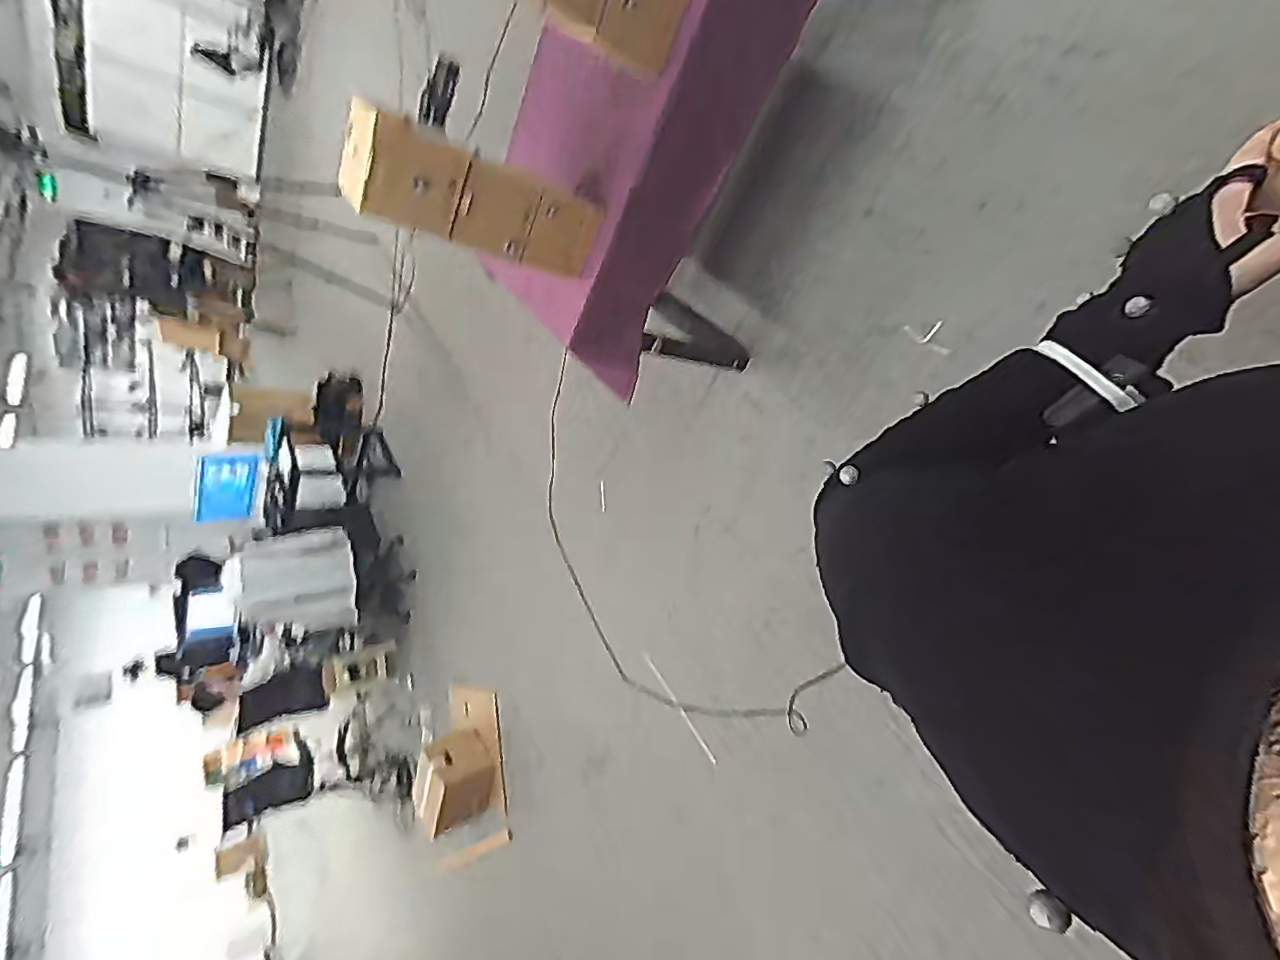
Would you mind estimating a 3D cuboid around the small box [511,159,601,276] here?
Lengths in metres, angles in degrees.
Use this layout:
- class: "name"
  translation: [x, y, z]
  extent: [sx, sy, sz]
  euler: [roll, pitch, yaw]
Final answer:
- class: "small box"
  translation: [-0.217, -0.604, 1.261]
  extent: [0.168, 0.176, 0.179]
  euler: [49, 123, 34]

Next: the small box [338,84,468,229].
- class: "small box"
  translation: [-0.449, -0.603, 1.027]
  extent: [0.179, 0.176, 0.168]
  euler: [49, 122, 33]

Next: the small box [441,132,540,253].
- class: "small box"
  translation: [-0.336, -0.605, 1.148]
  extent: [0.179, 0.176, 0.168]
  euler: [50, 123, 35]

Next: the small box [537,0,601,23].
- class: "small box"
  translation: [-0.148, -0.944, 0.943]
  extent: [0.179, 0.176, 0.168]
  euler: [49, 123, 35]

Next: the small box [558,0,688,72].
- class: "small box"
  translation: [-0.027, -0.942, 1.052]
  extent: [0.168, 0.176, 0.179]
  euler: [51, 125, 32]
